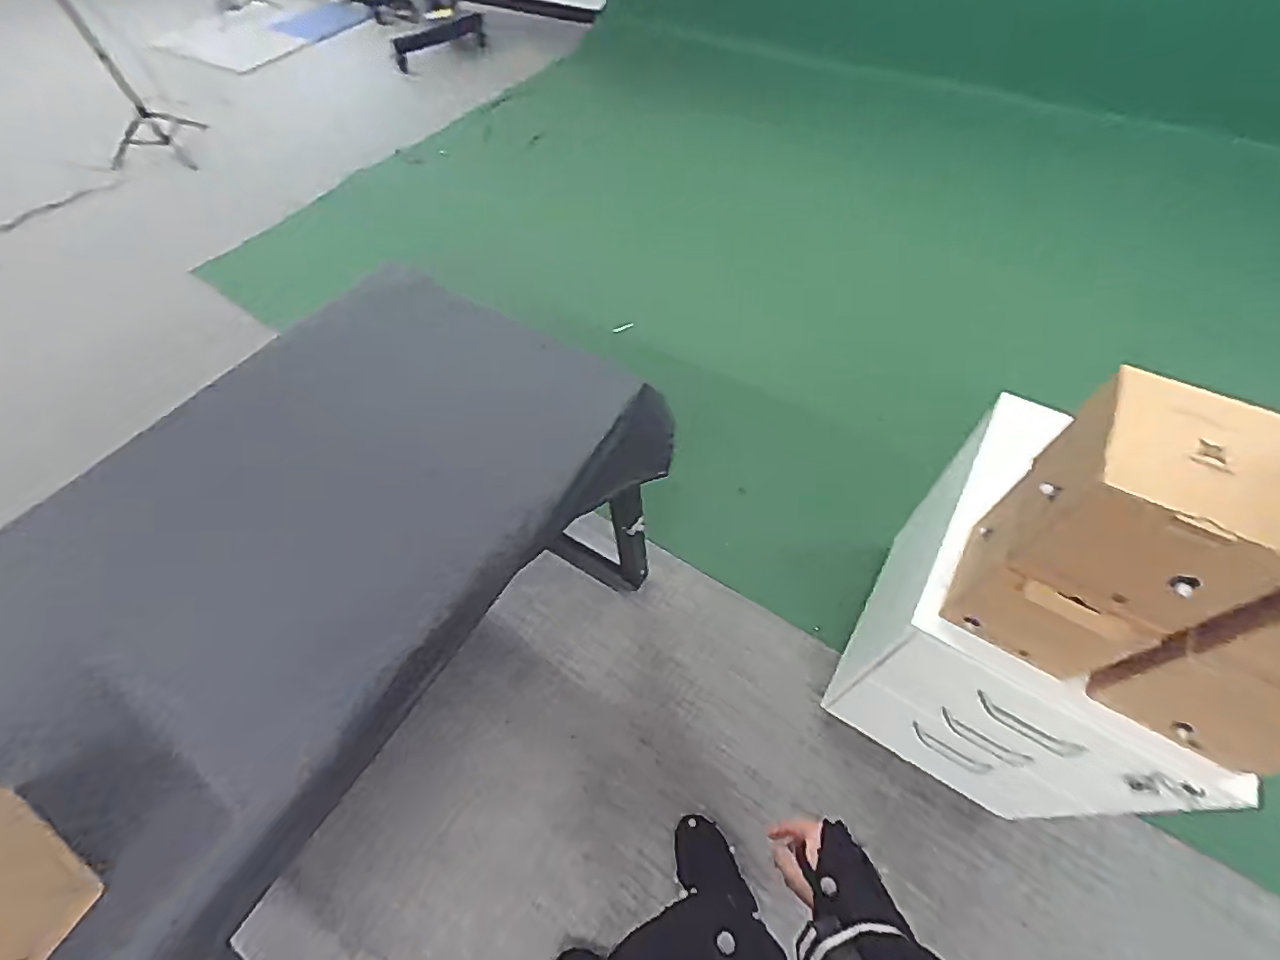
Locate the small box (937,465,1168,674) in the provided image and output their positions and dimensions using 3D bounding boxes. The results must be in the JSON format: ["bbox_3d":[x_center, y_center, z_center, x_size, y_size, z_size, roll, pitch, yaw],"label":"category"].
[{"bbox_3d":[0.517,0.120,0.700,0.168,0.176,0.179,29,61,18],"label":"small box"}]

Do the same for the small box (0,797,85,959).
[{"bbox_3d":[-0.620,0.363,0.424,0.179,0.176,0.168,23,60,17],"label":"small box"}]
